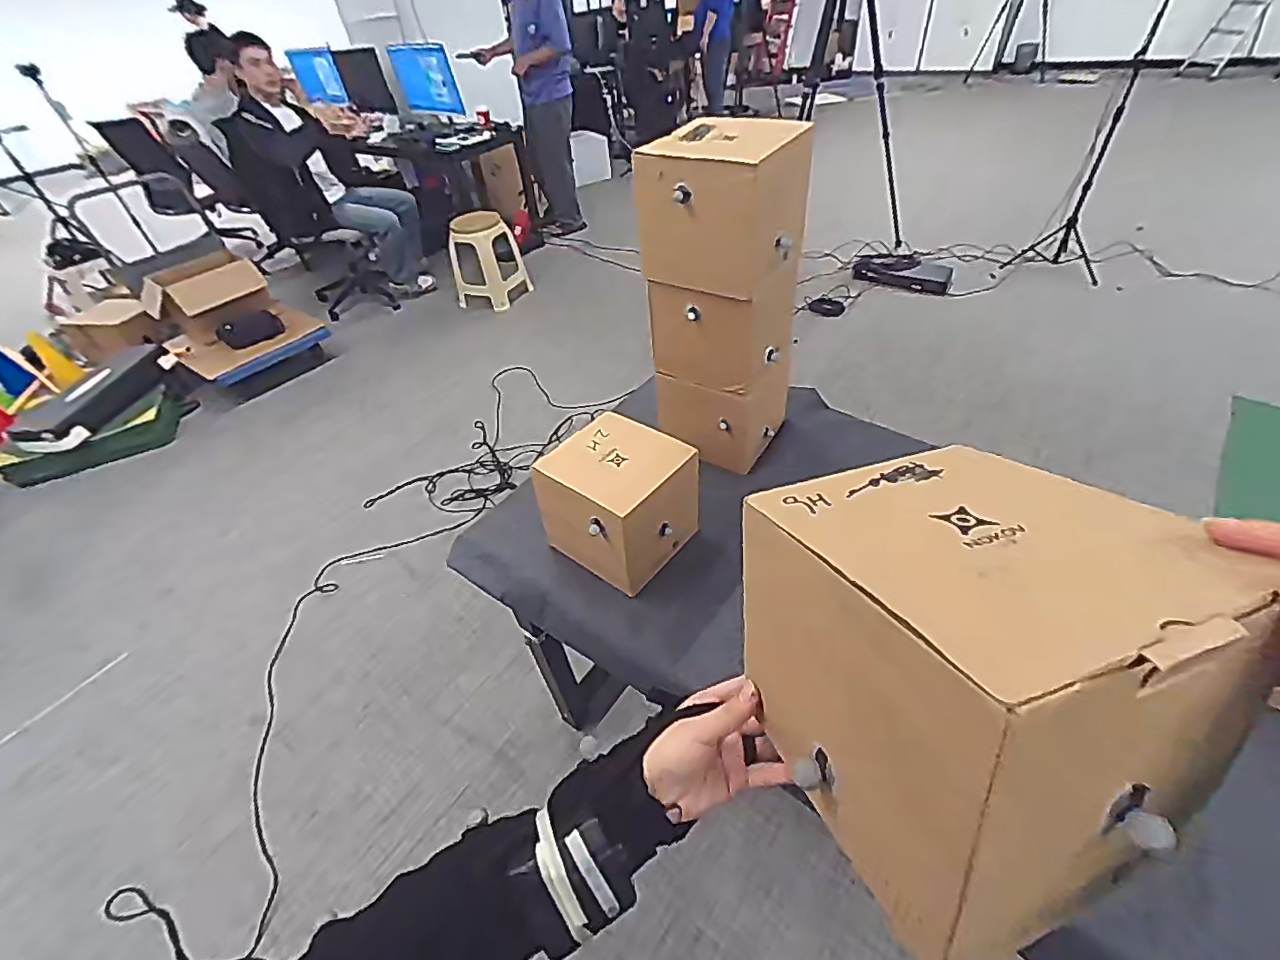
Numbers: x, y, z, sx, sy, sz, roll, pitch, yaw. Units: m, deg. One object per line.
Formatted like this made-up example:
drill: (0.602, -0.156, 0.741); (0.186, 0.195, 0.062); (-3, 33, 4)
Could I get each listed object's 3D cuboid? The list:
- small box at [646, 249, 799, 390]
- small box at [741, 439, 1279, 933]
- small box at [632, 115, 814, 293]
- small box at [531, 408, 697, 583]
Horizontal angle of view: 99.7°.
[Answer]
small box: (0.131, -0.266, 0.856); (0.179, 0.176, 0.168); (22, 53, 26)
small box: (0.170, 0.096, 0.297); (0.168, 0.176, 0.179); (-13, 25, -15)
small box: (0.112, -0.375, 0.734); (0.179, 0.176, 0.168); (24, 54, 27)
small box: (-0.031, 0.026, 0.805); (0.179, 0.176, 0.168); (27, 50, 30)
